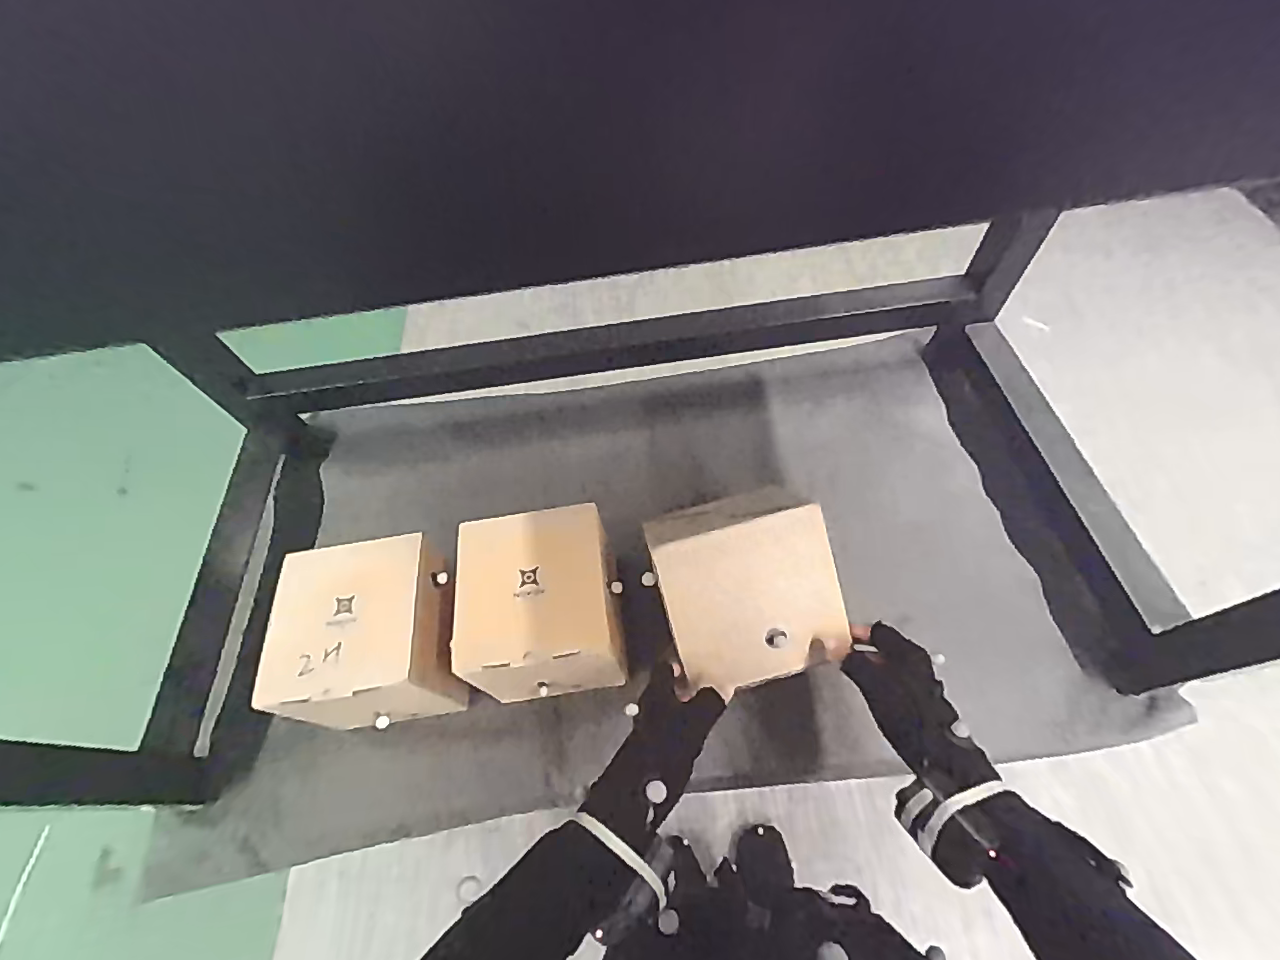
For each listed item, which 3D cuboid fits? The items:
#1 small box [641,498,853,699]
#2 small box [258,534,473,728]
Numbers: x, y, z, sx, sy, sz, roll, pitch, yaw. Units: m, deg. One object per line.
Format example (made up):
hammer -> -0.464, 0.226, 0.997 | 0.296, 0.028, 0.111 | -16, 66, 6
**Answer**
small box -> 0.110, 0.118, 0.621 | 0.179, 0.168, 0.176 | -14, 90, -3
small box -> -0.314, 0.189, 0.664 | 0.168, 0.176, 0.179 | -9, 58, 0
